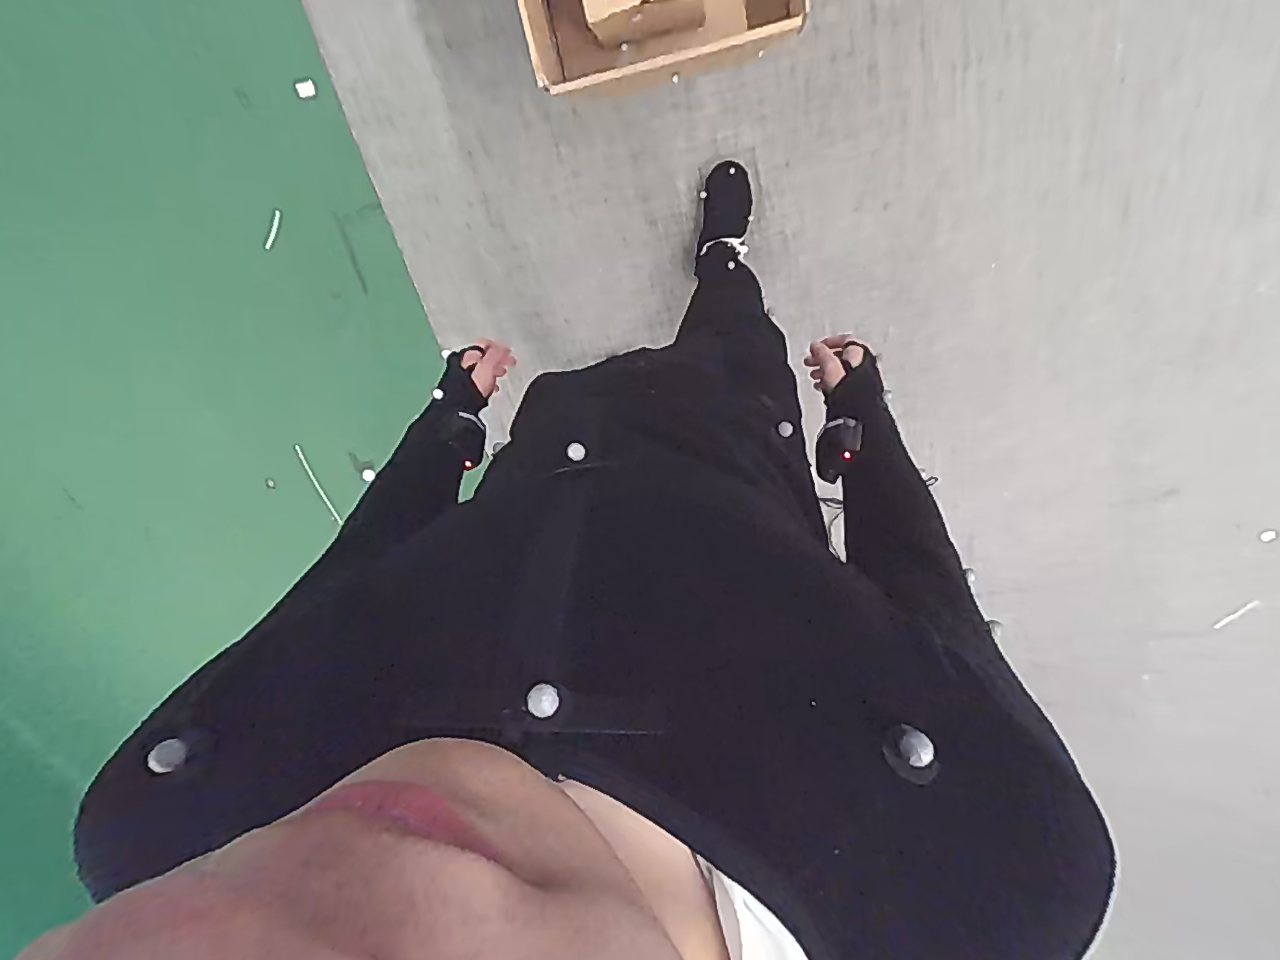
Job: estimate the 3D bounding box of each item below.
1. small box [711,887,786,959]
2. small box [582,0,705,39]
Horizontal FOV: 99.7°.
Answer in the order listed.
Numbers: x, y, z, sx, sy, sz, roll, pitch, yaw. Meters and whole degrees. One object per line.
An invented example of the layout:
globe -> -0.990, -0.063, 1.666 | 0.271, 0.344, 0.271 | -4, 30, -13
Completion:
small box -> 0.287, 1.209, 1.421 | 0.168, 0.176, 0.179 | -13, 116, 14
small box -> 0.000, -0.752, 0.755 | 0.168, 0.176, 0.179 | -6, 116, 10
